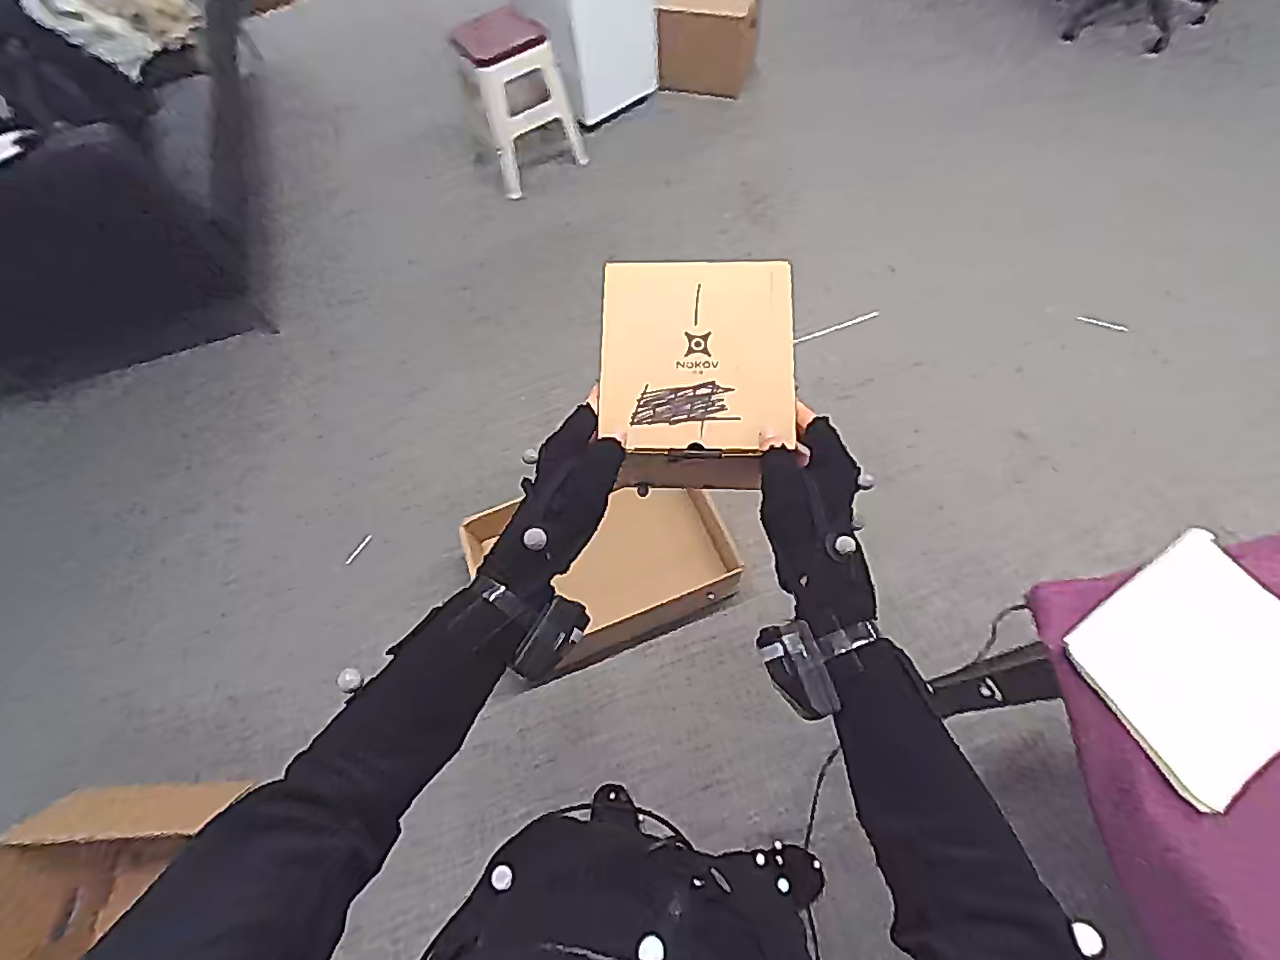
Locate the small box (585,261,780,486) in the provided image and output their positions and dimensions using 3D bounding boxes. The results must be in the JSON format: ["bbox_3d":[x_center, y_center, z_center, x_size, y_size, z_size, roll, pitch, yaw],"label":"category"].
[{"bbox_3d":[0.042,-0.092,0.541,0.168,0.176,0.179,1,78,3],"label":"small box"}]
